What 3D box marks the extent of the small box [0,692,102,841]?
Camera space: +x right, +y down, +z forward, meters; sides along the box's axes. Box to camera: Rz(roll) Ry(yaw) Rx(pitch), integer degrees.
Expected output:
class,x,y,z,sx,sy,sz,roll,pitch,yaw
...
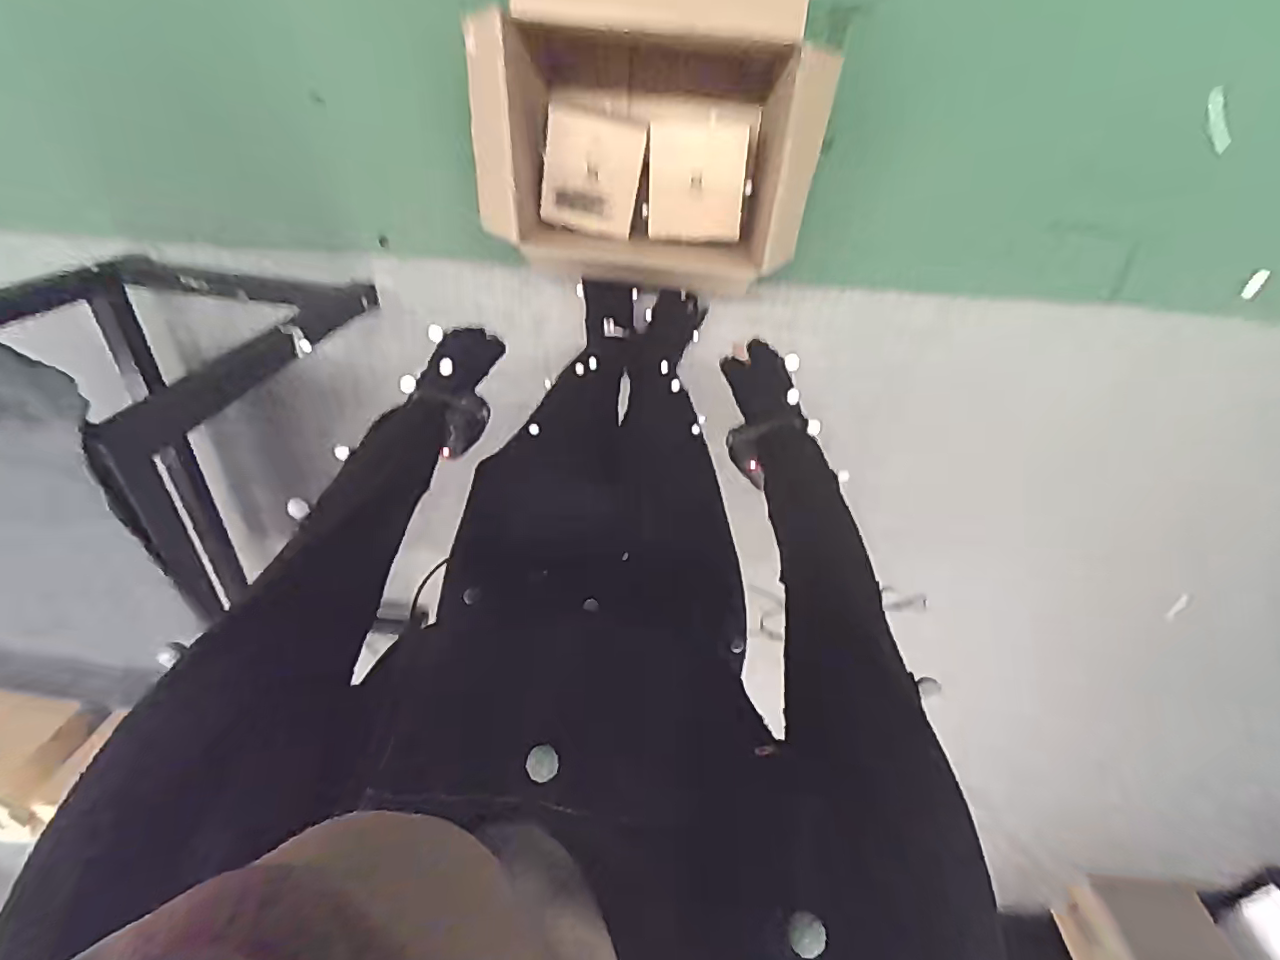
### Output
class,x,y,z,sx,sy,sz,roll,pitch,yaw
small box,-1.093,0.495,0.941,0.179,0.176,0.168,9,125,-3
